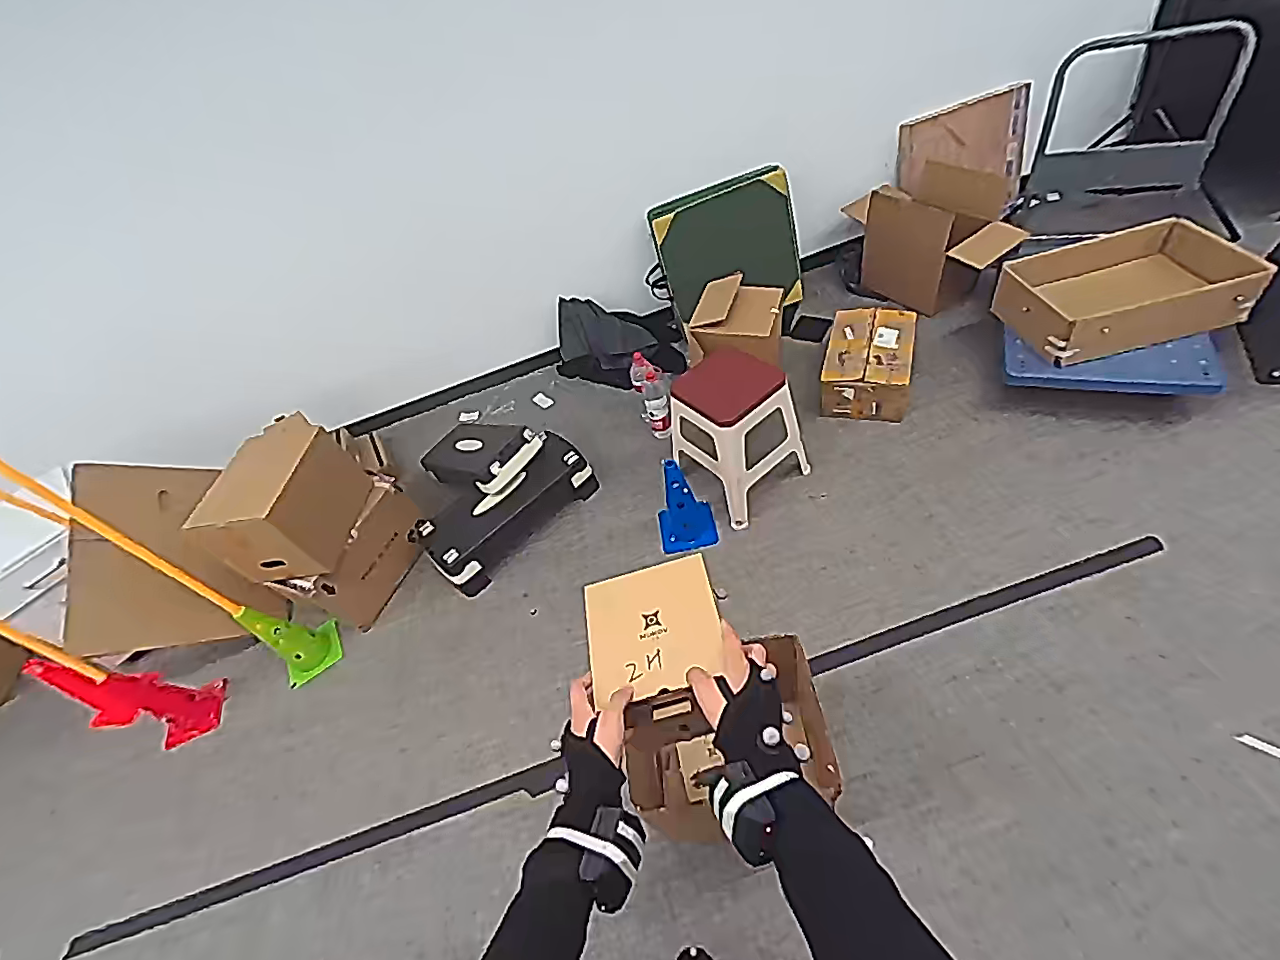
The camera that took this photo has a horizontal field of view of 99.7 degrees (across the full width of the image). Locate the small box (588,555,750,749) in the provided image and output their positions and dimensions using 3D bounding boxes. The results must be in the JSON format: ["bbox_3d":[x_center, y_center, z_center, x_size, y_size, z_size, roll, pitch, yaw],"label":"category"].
[{"bbox_3d":[0.039,0.233,0.725,0.168,0.176,0.179,-17,48,6],"label":"small box"}]
